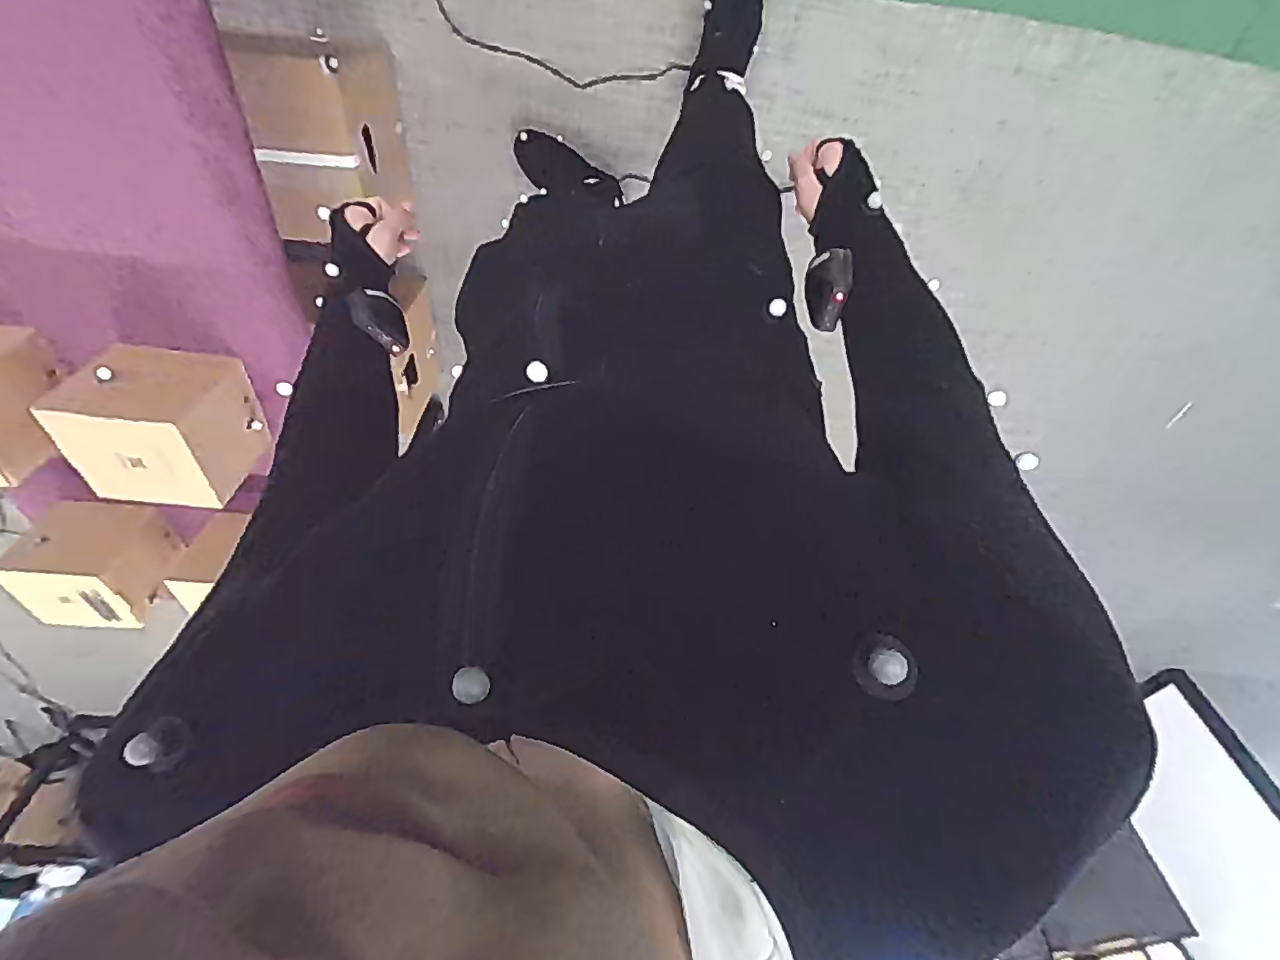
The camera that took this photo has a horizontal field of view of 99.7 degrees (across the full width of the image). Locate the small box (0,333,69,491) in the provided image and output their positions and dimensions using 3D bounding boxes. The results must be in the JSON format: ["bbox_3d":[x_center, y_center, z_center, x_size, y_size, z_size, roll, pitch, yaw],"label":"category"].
[{"bbox_3d":[-0.974,-0.106,0.770,0.179,0.176,0.168,5,133,-8],"label":"small box"}]

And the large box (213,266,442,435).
[{"bbox_3d":[-0.793,-0.349,1.452,0.408,0.320,0.320,5,132,-5],"label":"large box"}]

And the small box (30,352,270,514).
[{"bbox_3d":[-0.703,-0.072,0.805,0.179,0.176,0.168,6,134,-6],"label":"small box"}]
